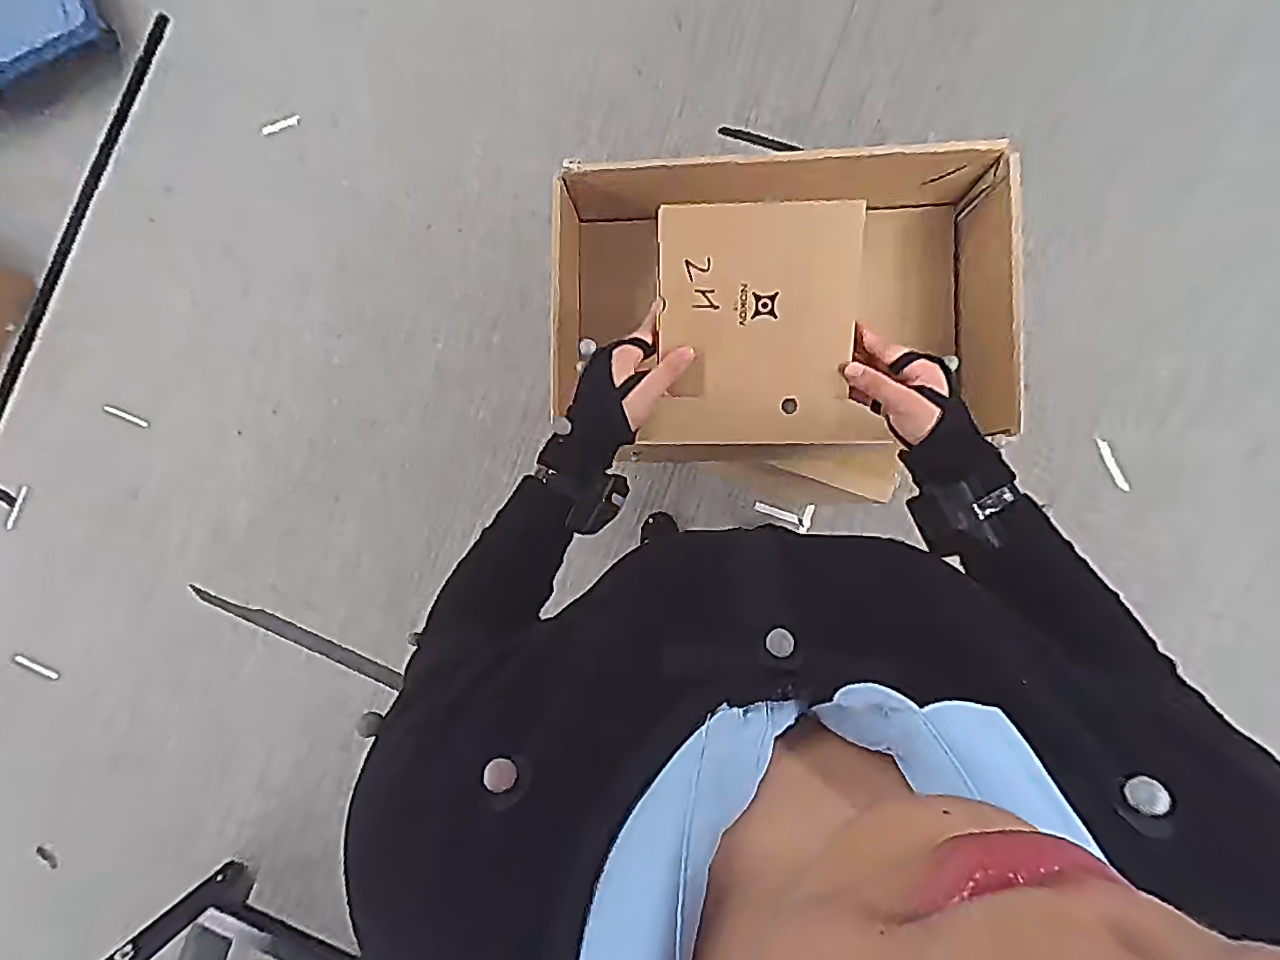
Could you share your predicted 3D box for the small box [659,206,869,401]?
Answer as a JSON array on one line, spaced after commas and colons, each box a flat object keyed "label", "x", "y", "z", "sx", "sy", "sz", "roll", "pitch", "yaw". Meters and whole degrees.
[{"label": "small box", "x": 0.114, "y": -0.172, "z": 0.556, "sx": 0.179, "sy": 0.176, "sz": 0.168, "roll": 2, "pitch": 102, "yaw": 7}]
